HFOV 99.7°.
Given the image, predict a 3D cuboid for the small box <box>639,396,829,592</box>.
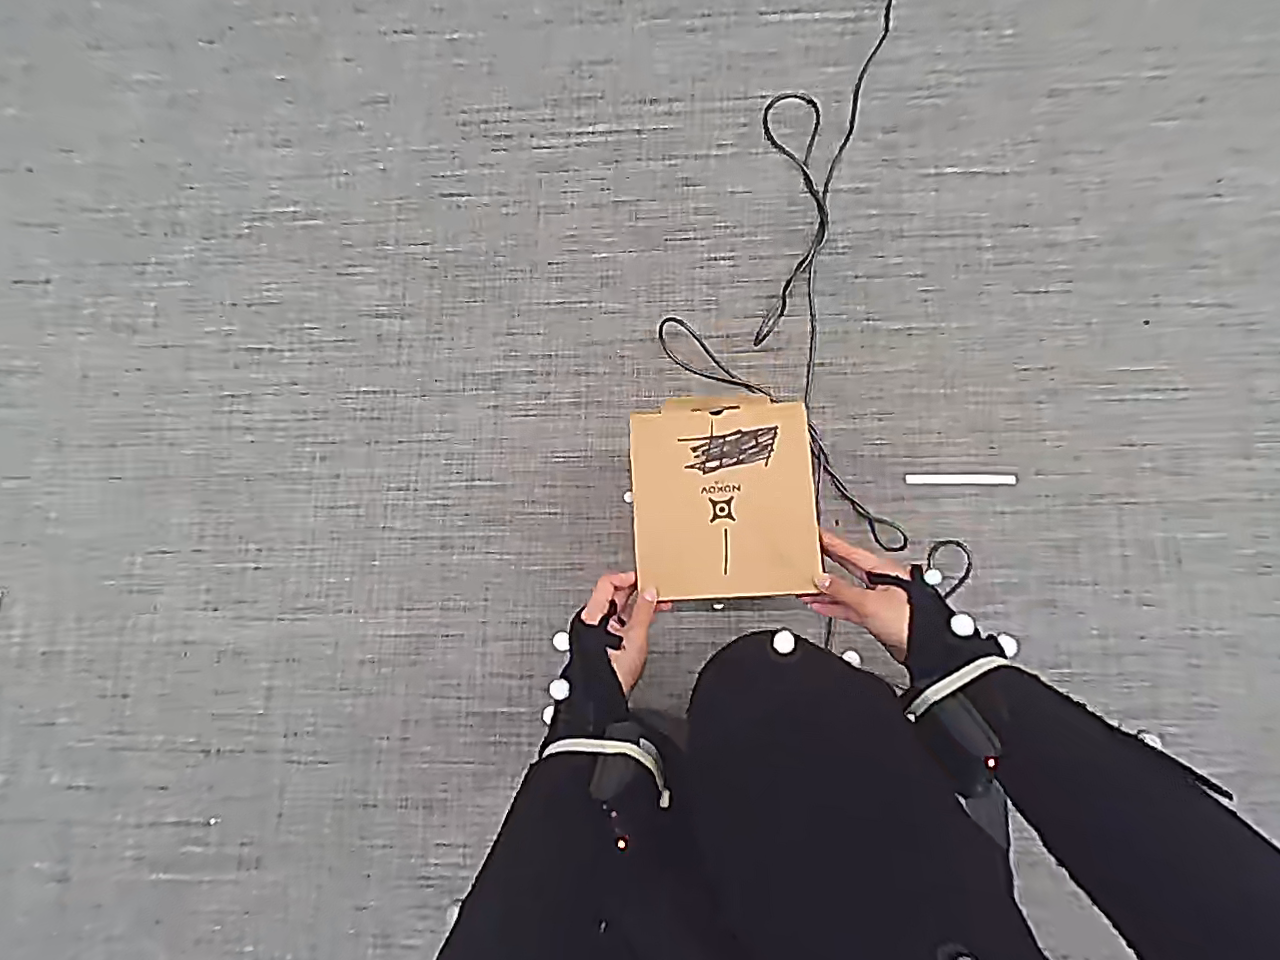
[{"bbox_3d":[0.088,0.024,0.569,0.168,0.176,0.179,-3,81,5],"label":"small box"}]
